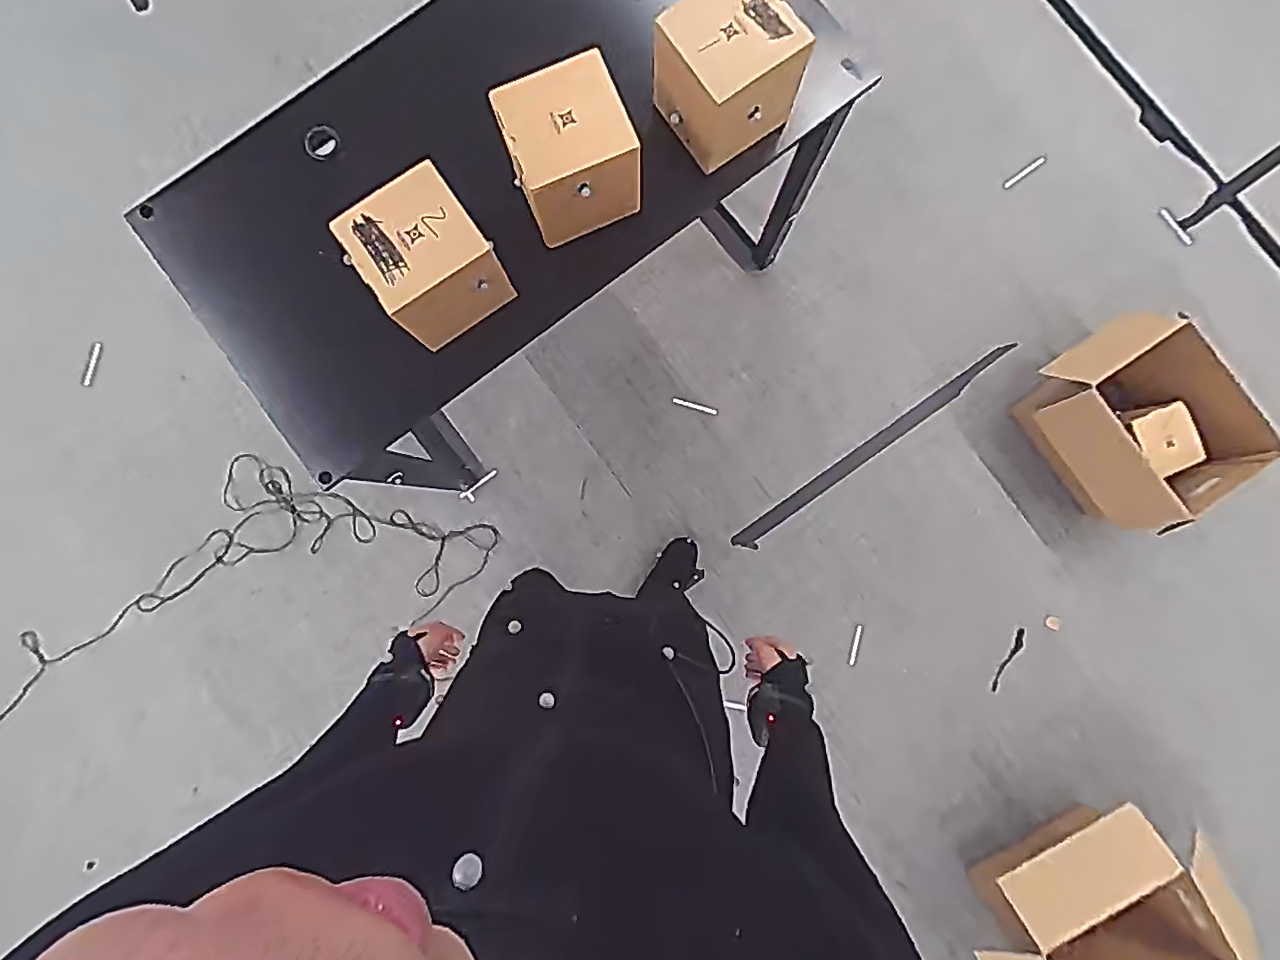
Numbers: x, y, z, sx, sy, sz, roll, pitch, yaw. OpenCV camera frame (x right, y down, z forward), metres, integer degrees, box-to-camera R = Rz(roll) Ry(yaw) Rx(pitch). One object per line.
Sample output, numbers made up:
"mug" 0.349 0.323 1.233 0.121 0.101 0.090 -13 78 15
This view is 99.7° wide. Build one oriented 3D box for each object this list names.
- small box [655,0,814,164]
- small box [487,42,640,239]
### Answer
"small box" 0.136 -0.654 0.852 0.179 0.176 0.168 -35 86 0
"small box" -0.110 -0.519 0.851 0.179 0.176 0.168 -24 86 0
